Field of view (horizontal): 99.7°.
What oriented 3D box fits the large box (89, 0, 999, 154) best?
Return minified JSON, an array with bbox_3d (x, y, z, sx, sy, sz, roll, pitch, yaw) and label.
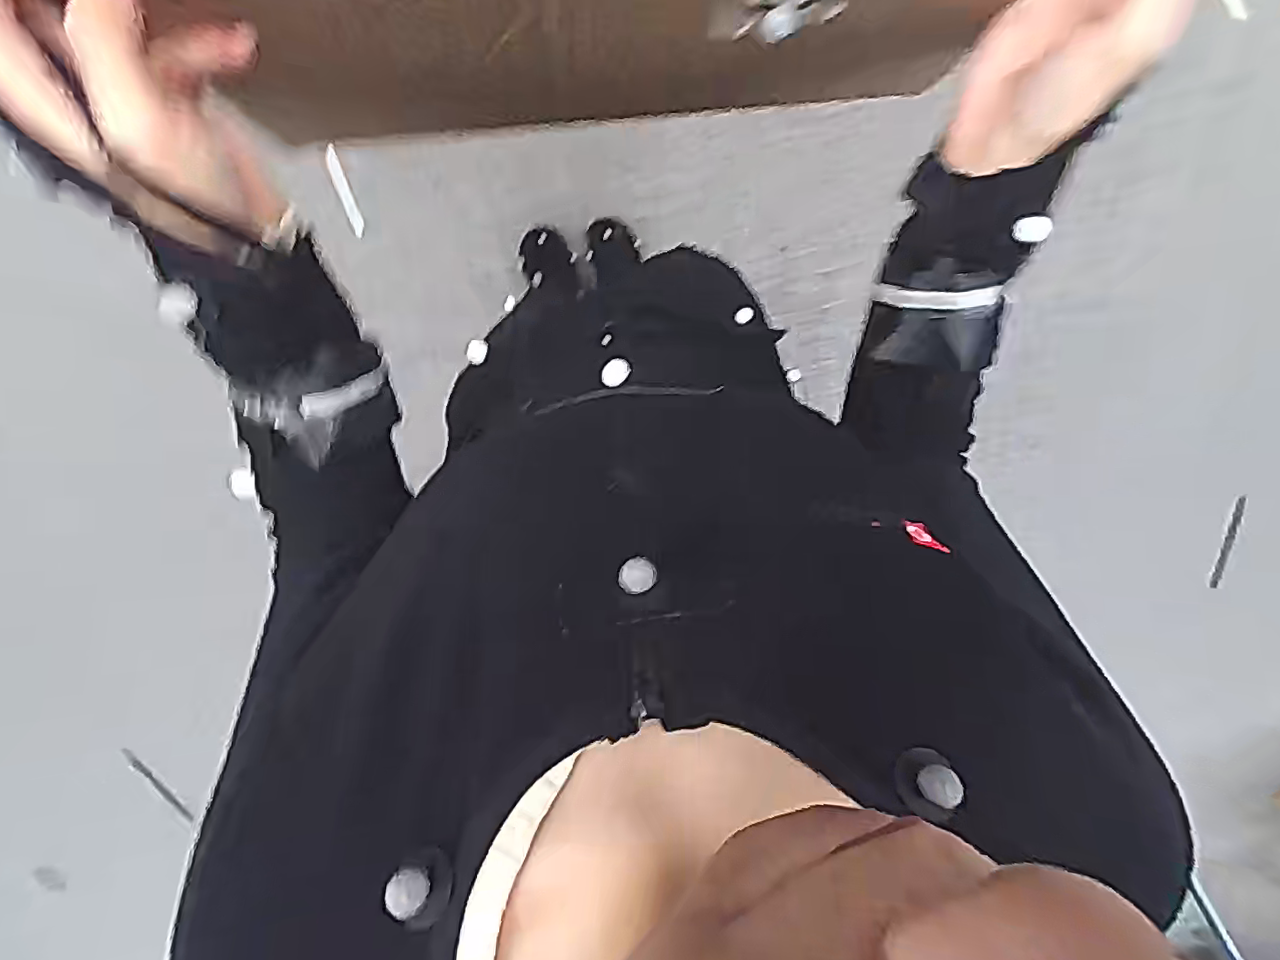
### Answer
[{"bbox_3d":[-0.029,-0.352,0.169,0.408,0.320,0.320,-9,101,-4],"label":"large box"}]
